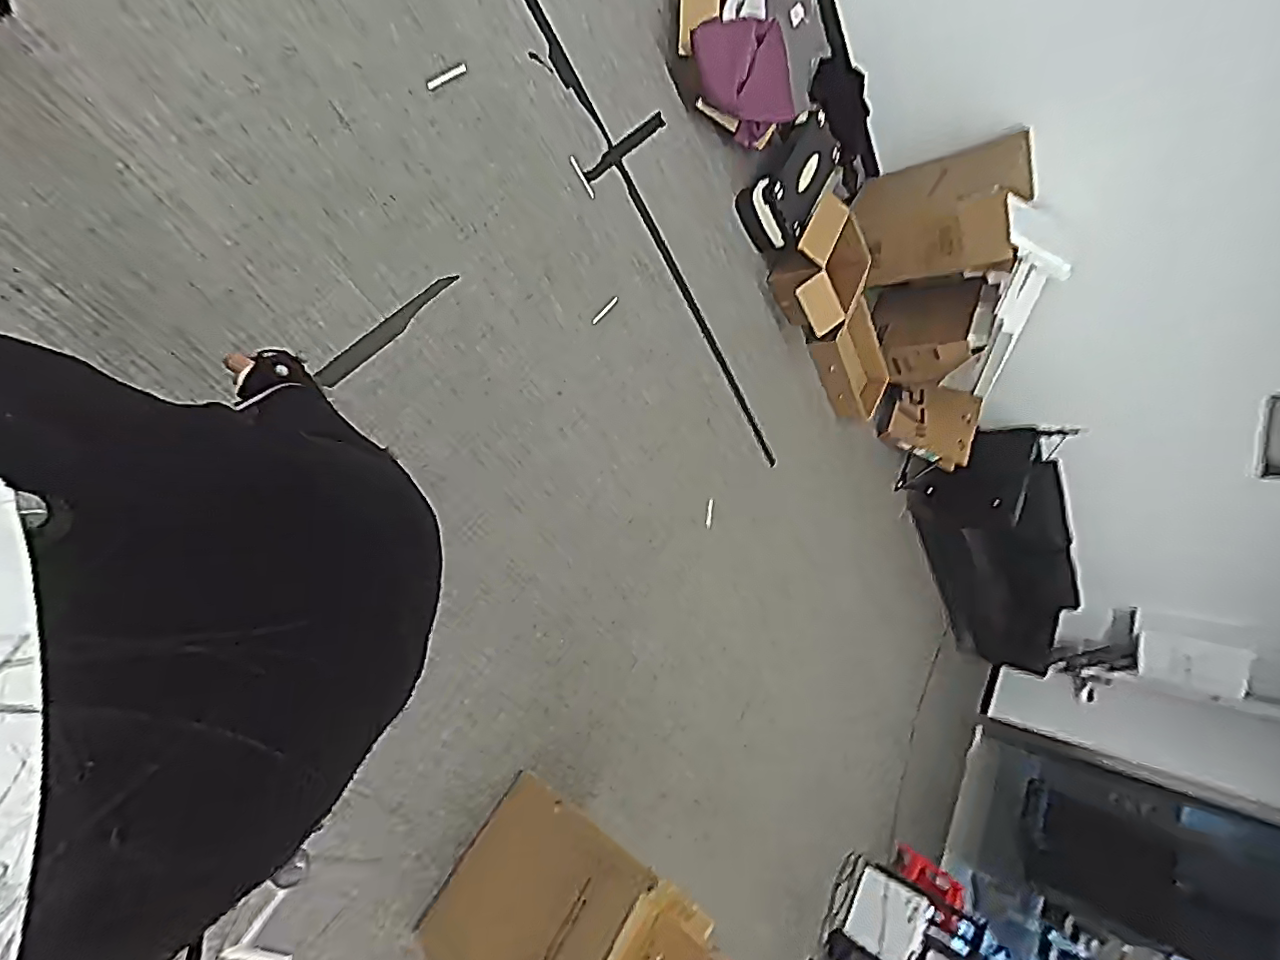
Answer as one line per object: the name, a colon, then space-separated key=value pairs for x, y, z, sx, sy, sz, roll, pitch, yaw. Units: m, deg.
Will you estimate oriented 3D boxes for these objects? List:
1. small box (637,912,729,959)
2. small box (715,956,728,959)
small box: x=0.113 y=1.239 z=1.361 sx=0.168 sy=0.176 sz=0.179 roll=-54 pitch=126 yaw=-26
small box: x=0.227 y=1.250 z=1.242 sx=0.179 sy=0.176 sz=0.168 roll=52 pitch=60 yaw=-32
